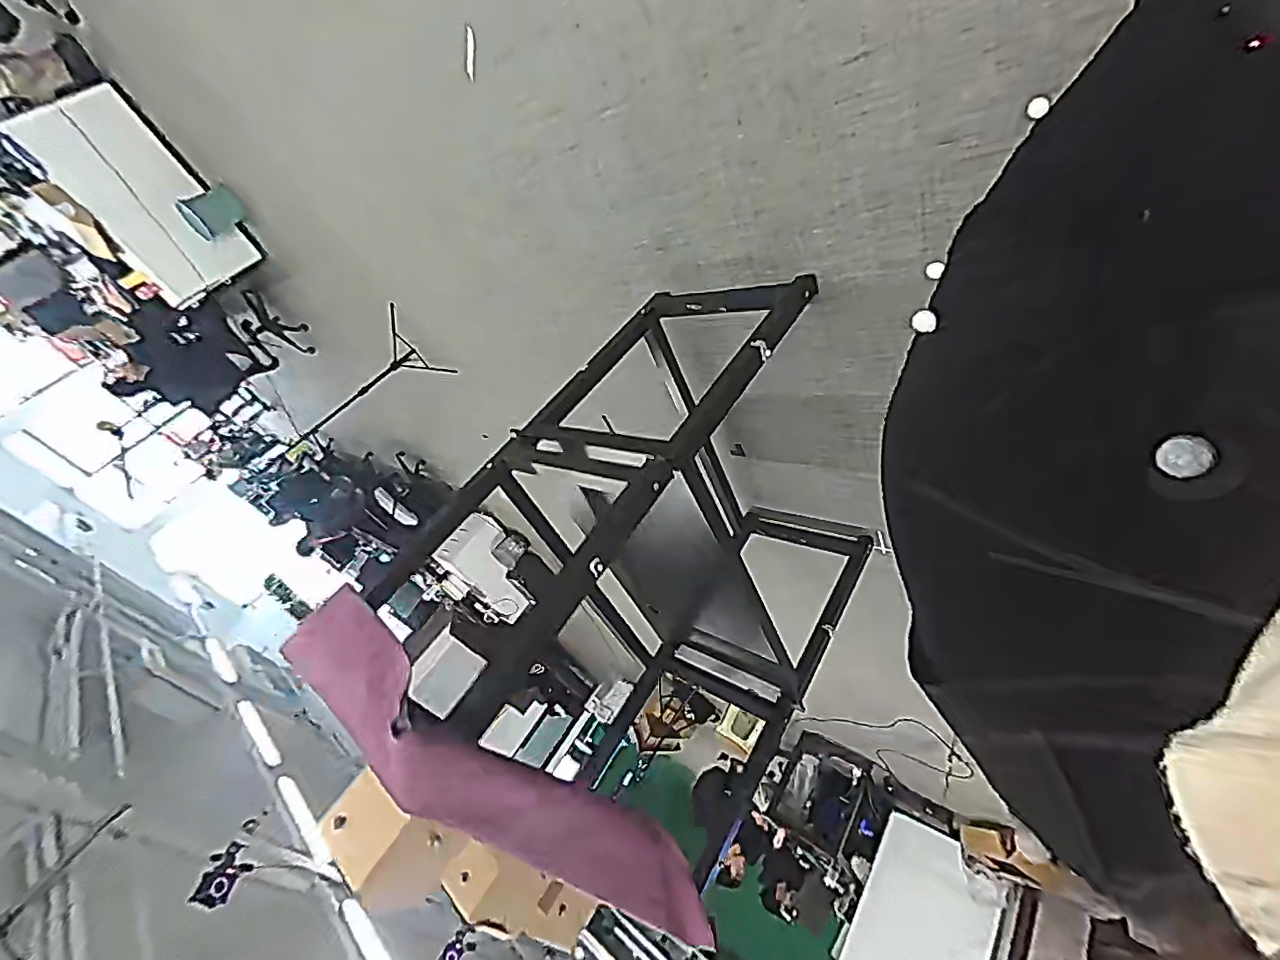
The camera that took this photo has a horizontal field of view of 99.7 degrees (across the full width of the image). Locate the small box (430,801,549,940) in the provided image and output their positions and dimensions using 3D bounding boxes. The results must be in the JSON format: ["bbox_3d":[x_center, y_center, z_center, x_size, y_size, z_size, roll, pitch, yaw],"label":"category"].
[{"bbox_3d":[-0.329,0.862,1.207,0.179,0.176,0.168,8,141,46],"label":"small box"}]

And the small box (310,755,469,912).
[{"bbox_3d":[-0.452,0.638,0.996,0.179,0.176,0.168,15,146,39],"label":"small box"}]

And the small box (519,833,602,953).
[{"bbox_3d":[-0.231,1.046,1.383,0.168,0.176,0.179,9,142,45],"label":"small box"}]
